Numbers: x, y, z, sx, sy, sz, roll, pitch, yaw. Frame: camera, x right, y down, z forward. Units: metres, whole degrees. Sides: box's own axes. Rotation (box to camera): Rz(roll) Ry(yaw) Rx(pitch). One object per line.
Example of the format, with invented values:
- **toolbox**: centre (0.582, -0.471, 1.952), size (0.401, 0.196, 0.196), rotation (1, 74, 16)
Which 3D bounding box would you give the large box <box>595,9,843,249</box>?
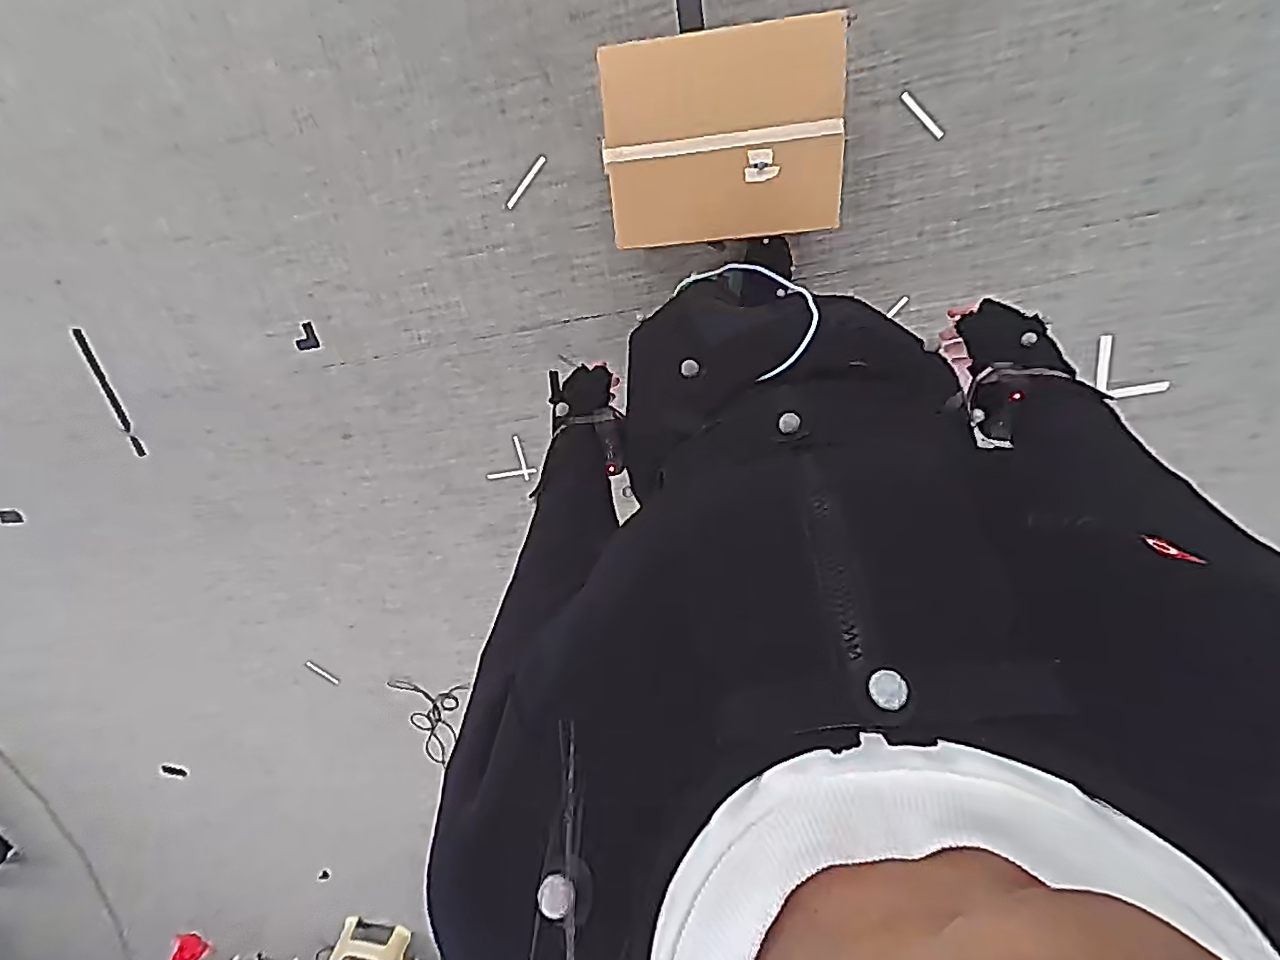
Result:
- **large box**: centre (0.149, -0.643, 1.060), size (0.408, 0.320, 0.320), rotation (-2, 115, 8)
